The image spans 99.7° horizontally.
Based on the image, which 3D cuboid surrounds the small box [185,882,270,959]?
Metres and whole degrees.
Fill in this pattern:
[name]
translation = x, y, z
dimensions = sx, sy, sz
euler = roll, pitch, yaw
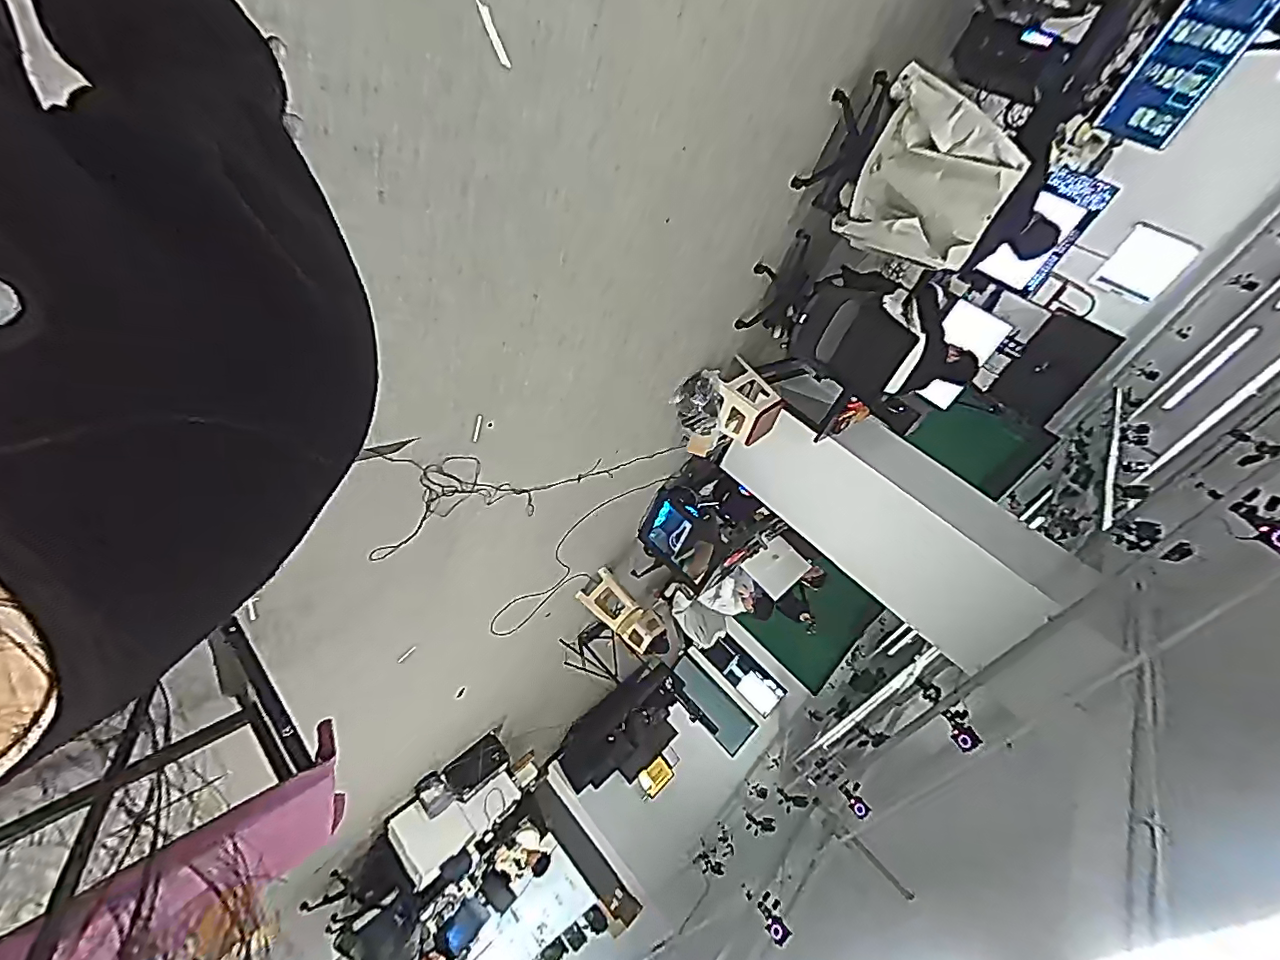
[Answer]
[small box]
translation = -1.308, 1.431, 1.717
dimensions = 0.168, 0.176, 0.179
euler = -23, 145, -45
